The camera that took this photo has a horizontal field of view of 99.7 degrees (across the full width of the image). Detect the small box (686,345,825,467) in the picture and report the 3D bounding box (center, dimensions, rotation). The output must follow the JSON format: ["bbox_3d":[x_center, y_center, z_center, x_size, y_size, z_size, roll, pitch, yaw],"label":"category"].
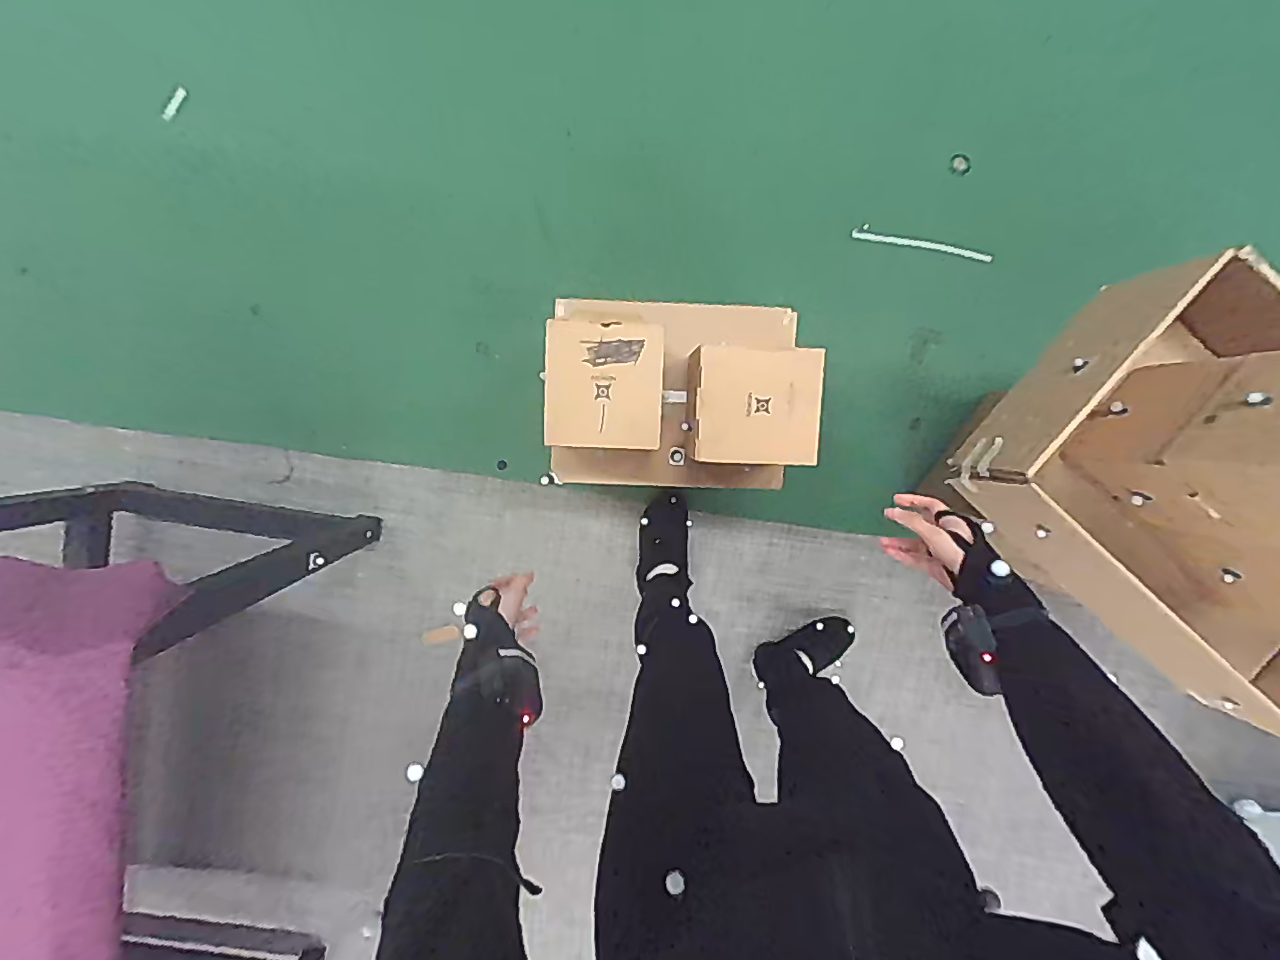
[{"bbox_3d":[0.167,-0.112,0.839,0.179,0.176,0.168,2,97,-1],"label":"small box"}]

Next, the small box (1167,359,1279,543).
[{"bbox_3d":[0.751,-0.028,0.578,0.179,0.176,0.168,39,93,-5],"label":"small box"}]

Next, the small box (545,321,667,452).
[{"bbox_3d":[-0.050,-0.137,0.833,0.168,0.176,0.179,2,96,-1],"label":"small box"}]
